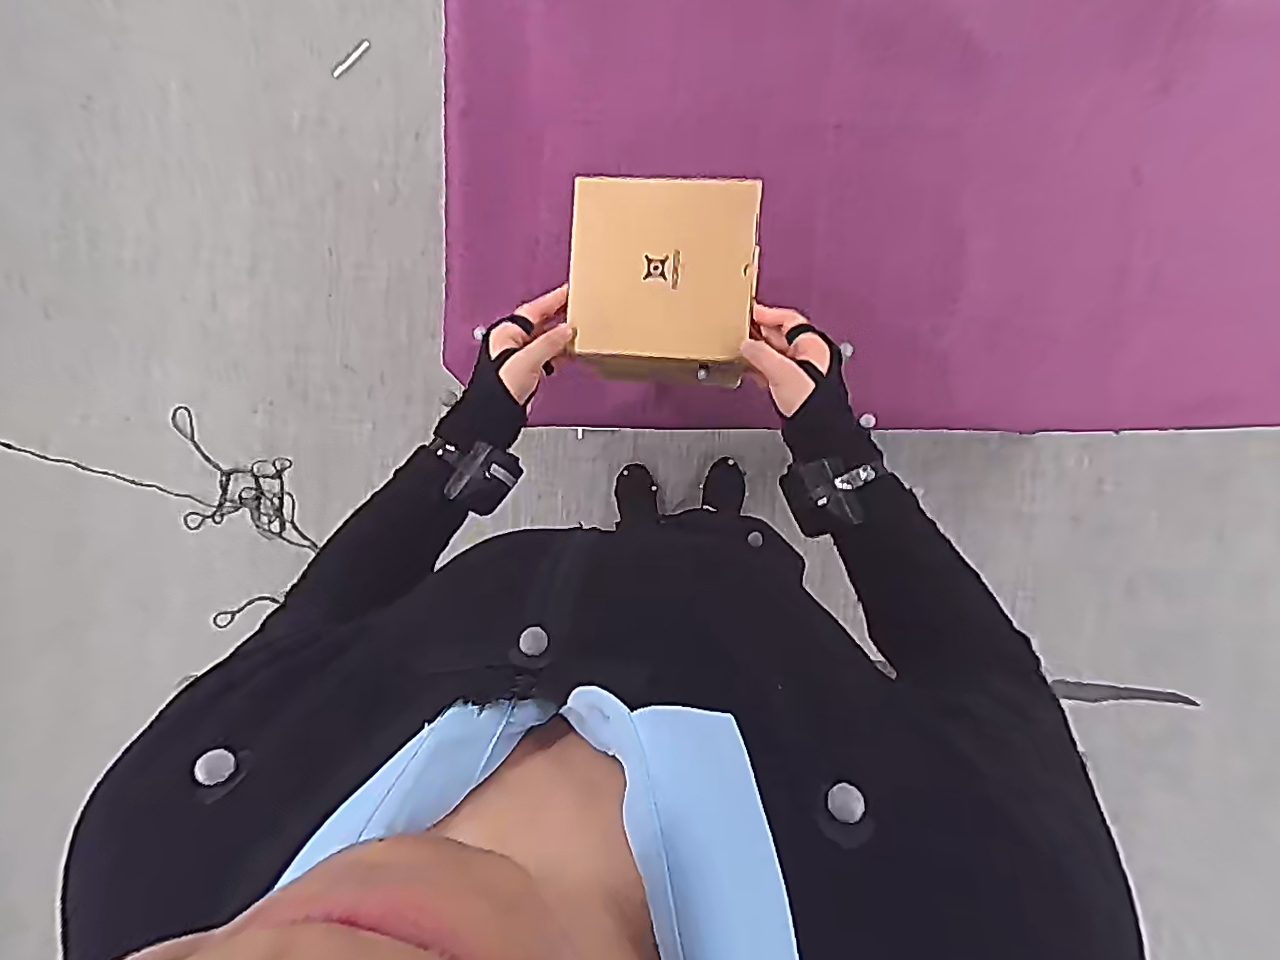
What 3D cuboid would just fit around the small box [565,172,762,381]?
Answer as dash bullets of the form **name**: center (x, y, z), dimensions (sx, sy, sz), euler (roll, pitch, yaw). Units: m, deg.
- **small box**: center (0.029, -0.204, 0.583), dimensions (0.179, 0.176, 0.168), euler (4, 92, 6)
